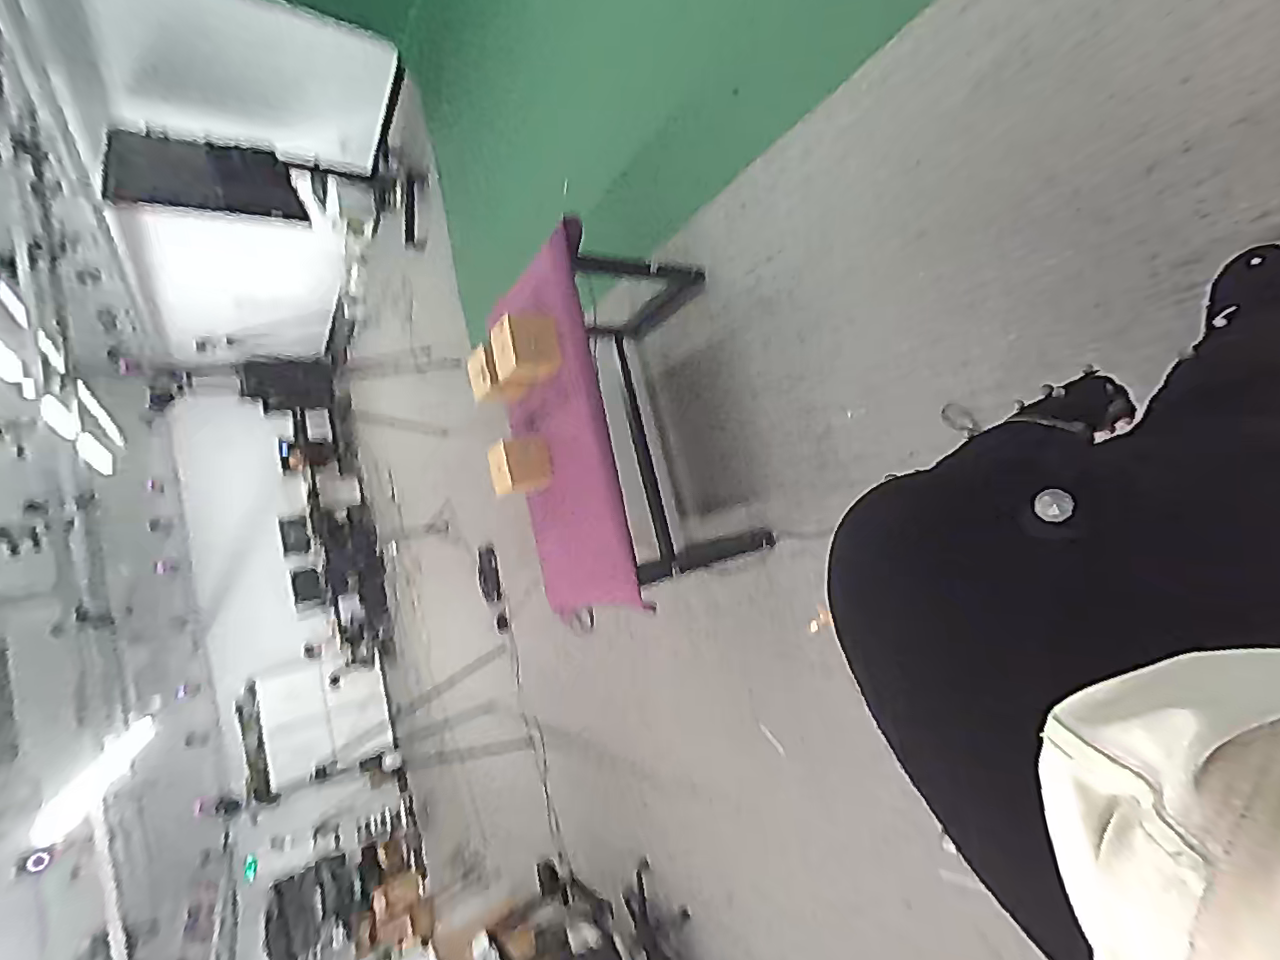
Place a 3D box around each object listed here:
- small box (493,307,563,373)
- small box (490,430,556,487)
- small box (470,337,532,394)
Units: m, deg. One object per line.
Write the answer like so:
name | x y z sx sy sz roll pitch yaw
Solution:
small box | -0.380 -0.476 1.840 0.168 0.176 0.179 -16 87 55
small box | -0.437 -0.084 2.018 0.168 0.176 0.179 -21 81 54
small box | -0.520 -0.433 2.043 0.179 0.176 0.168 -18 84 54
